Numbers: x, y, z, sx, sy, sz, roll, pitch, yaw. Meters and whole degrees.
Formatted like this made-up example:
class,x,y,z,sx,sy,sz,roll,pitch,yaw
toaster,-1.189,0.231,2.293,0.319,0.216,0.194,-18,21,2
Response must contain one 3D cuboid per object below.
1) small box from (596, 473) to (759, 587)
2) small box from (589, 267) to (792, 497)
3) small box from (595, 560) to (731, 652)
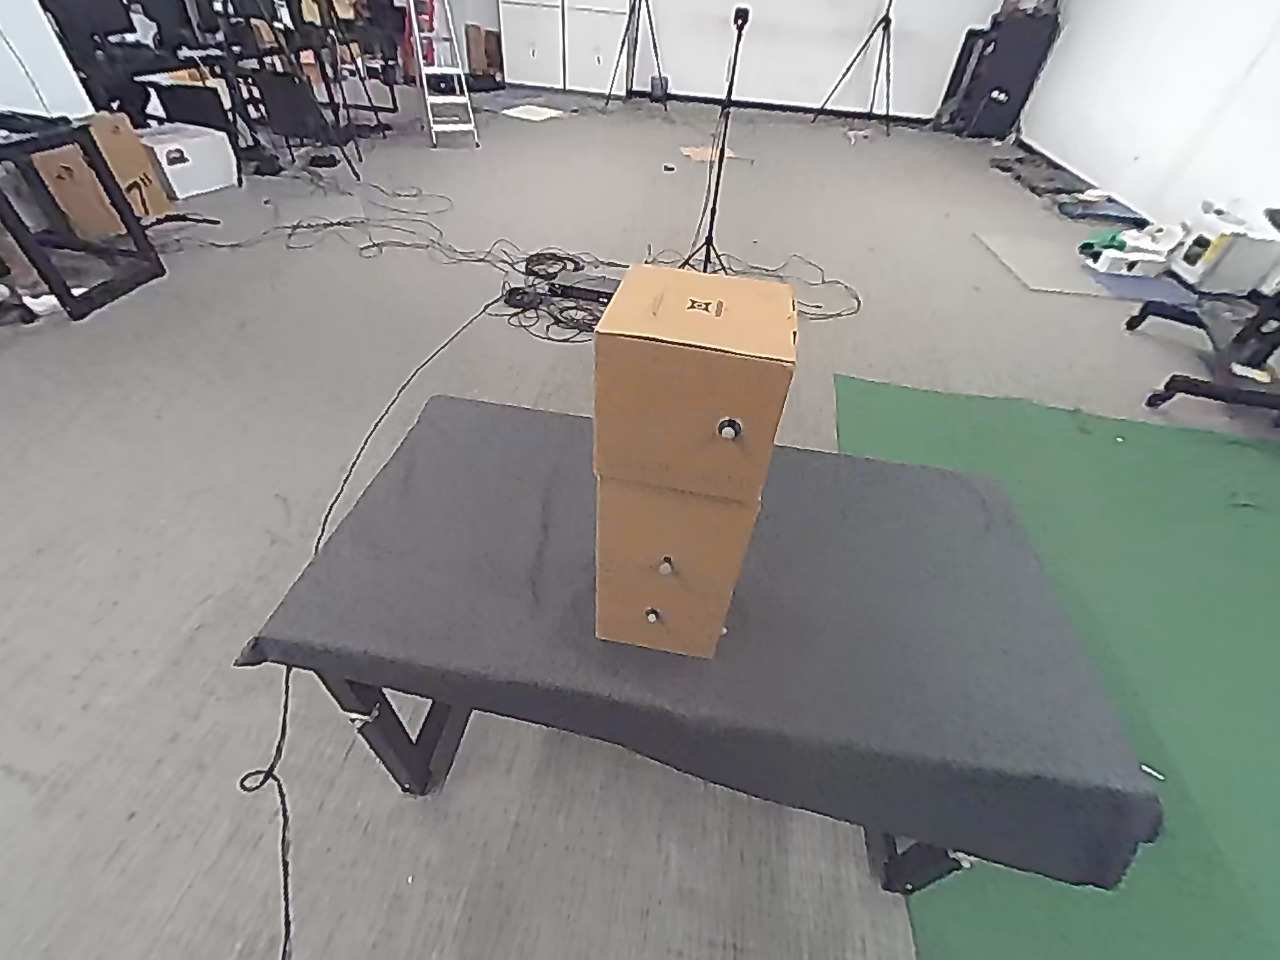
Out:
class,x,y,z,sx,sy,sz,roll,pitch,yaw
small box,0.046,0.017,0.684,0.179,0.176,0.168,7,44,4
small box,0.052,-0.101,0.569,0.179,0.176,0.168,9,42,6
small box,0.037,0.132,0.797,0.179,0.176,0.168,9,43,5
